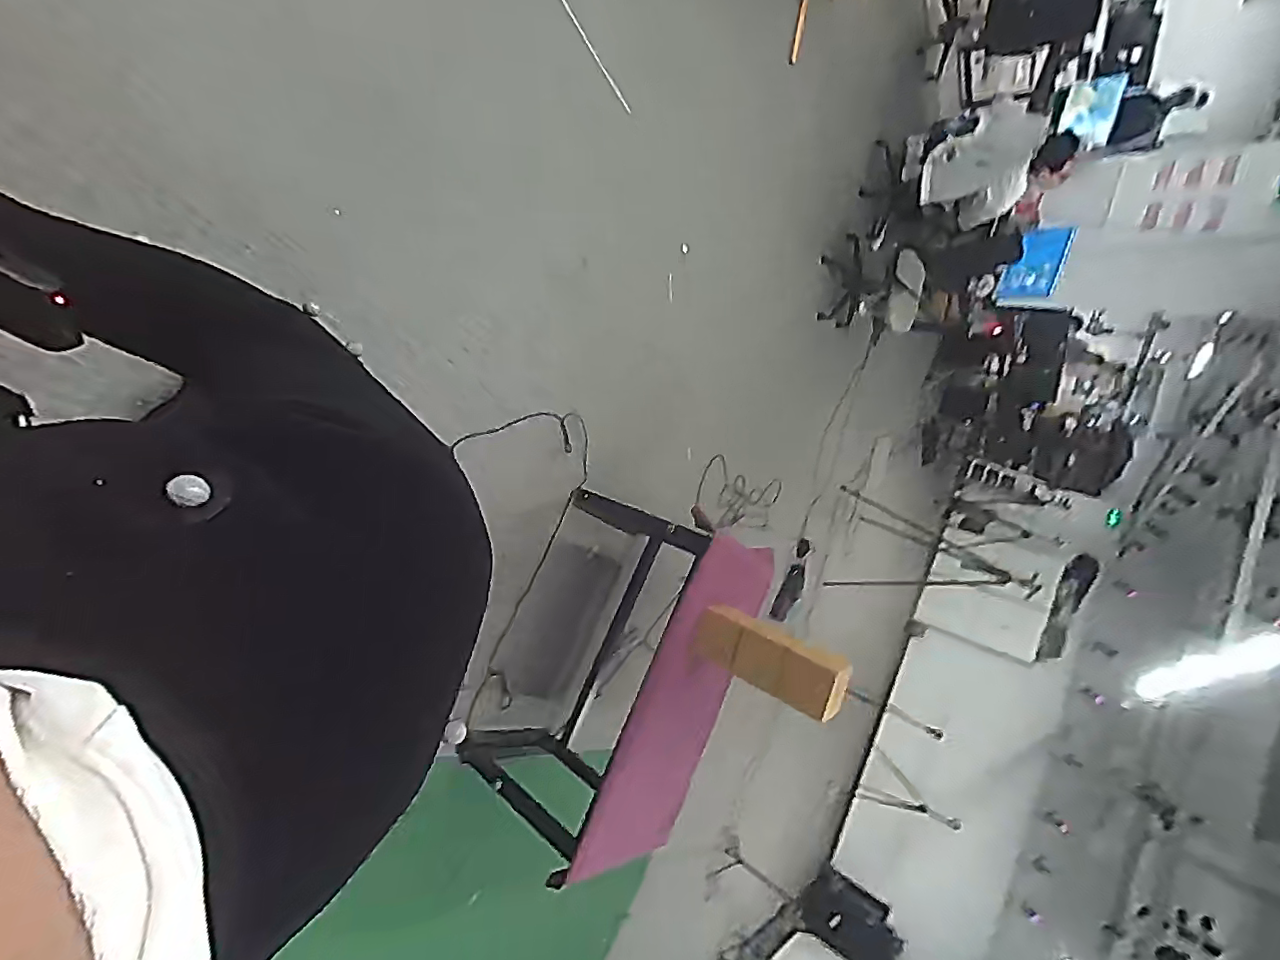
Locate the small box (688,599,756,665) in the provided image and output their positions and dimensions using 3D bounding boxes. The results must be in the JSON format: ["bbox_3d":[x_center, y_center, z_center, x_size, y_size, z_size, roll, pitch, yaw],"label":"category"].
[{"bbox_3d":[0.296,0.553,1.987,0.168,0.176,0.179,12,94,-54],"label":"small box"}]

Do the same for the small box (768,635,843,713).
[{"bbox_3d":[0.541,0.634,1.787,0.168,0.176,0.179,10,96,-53],"label":"small box"}]
